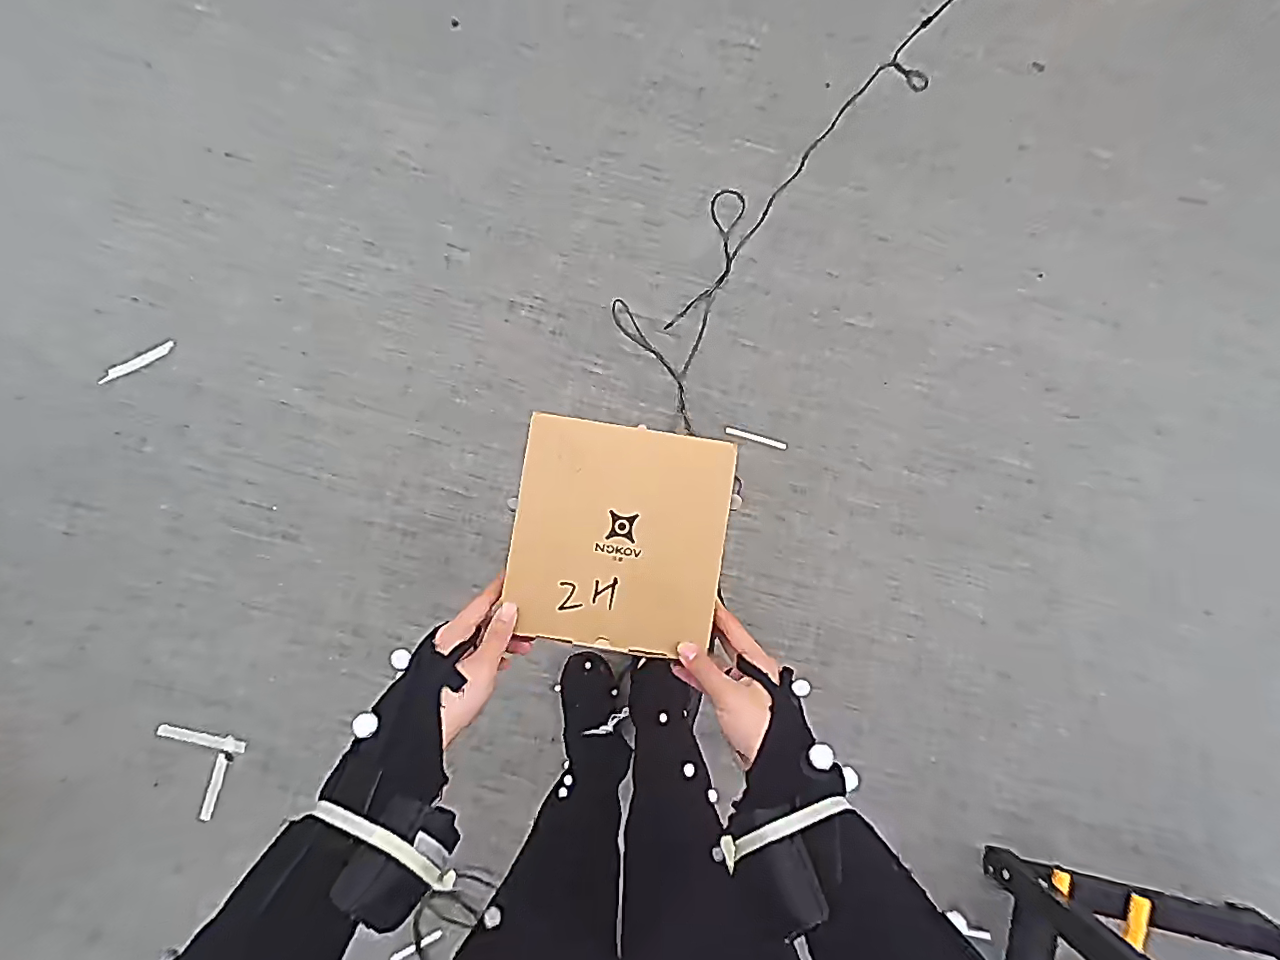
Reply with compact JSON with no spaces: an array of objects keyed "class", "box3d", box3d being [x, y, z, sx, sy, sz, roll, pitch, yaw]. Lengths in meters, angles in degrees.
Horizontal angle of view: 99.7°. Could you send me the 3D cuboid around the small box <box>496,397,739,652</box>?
[{"class":"small box","box3d":[-0.019,0.037,0.497,0.168,0.176,0.179,10,88,-1]}]
